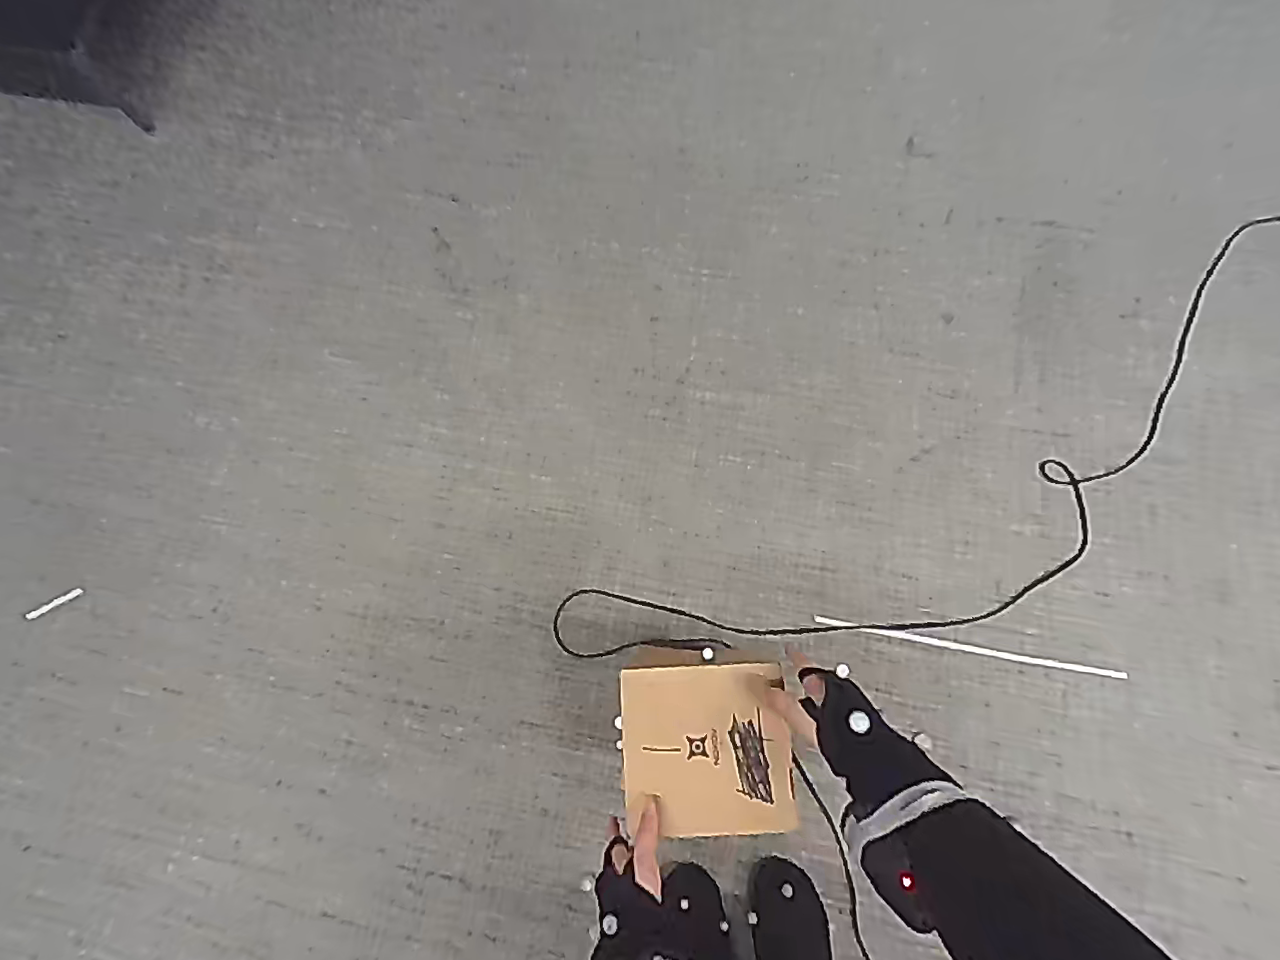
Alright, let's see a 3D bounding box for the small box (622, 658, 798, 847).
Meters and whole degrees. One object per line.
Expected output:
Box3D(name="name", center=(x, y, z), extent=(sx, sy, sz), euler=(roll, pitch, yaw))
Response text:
Box3D(name="small box", center=(0.075, 0.309, 0.645), extent=(0.179, 0.176, 0.168), euler=(-5, 76, 3))
